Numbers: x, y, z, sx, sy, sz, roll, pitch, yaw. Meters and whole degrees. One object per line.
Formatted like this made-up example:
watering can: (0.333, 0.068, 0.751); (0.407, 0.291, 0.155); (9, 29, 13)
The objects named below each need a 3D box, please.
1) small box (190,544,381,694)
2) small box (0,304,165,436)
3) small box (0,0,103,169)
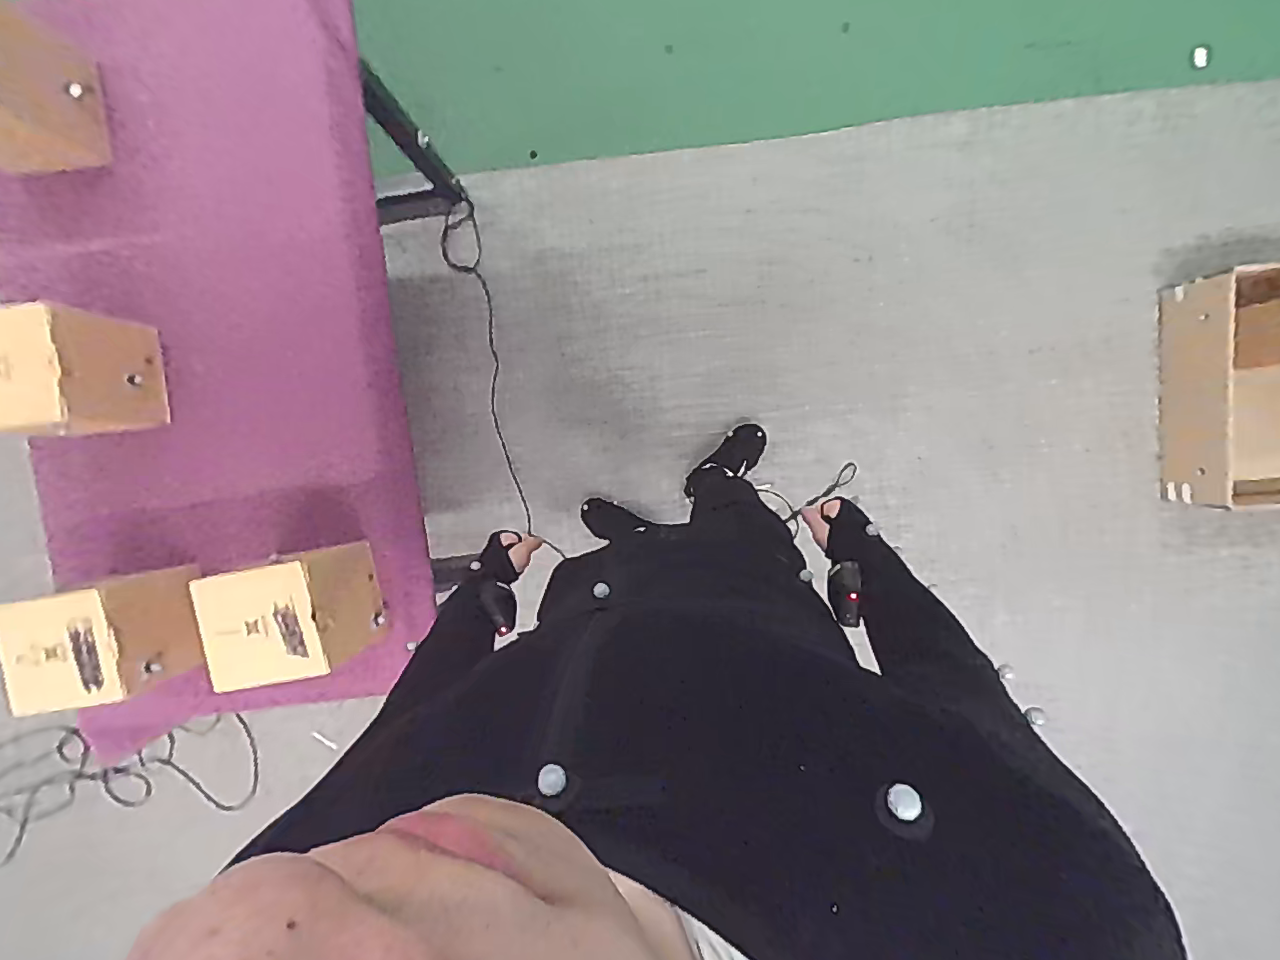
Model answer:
small box: (-0.529, 0.204, 0.837); (0.179, 0.176, 0.168); (-11, 93, 4)
small box: (-0.891, -0.157, 0.826); (0.179, 0.176, 0.168); (-6, 94, 1)
small box: (-0.961, -0.580, 0.791); (0.179, 0.176, 0.168); (-5, 97, 1)
